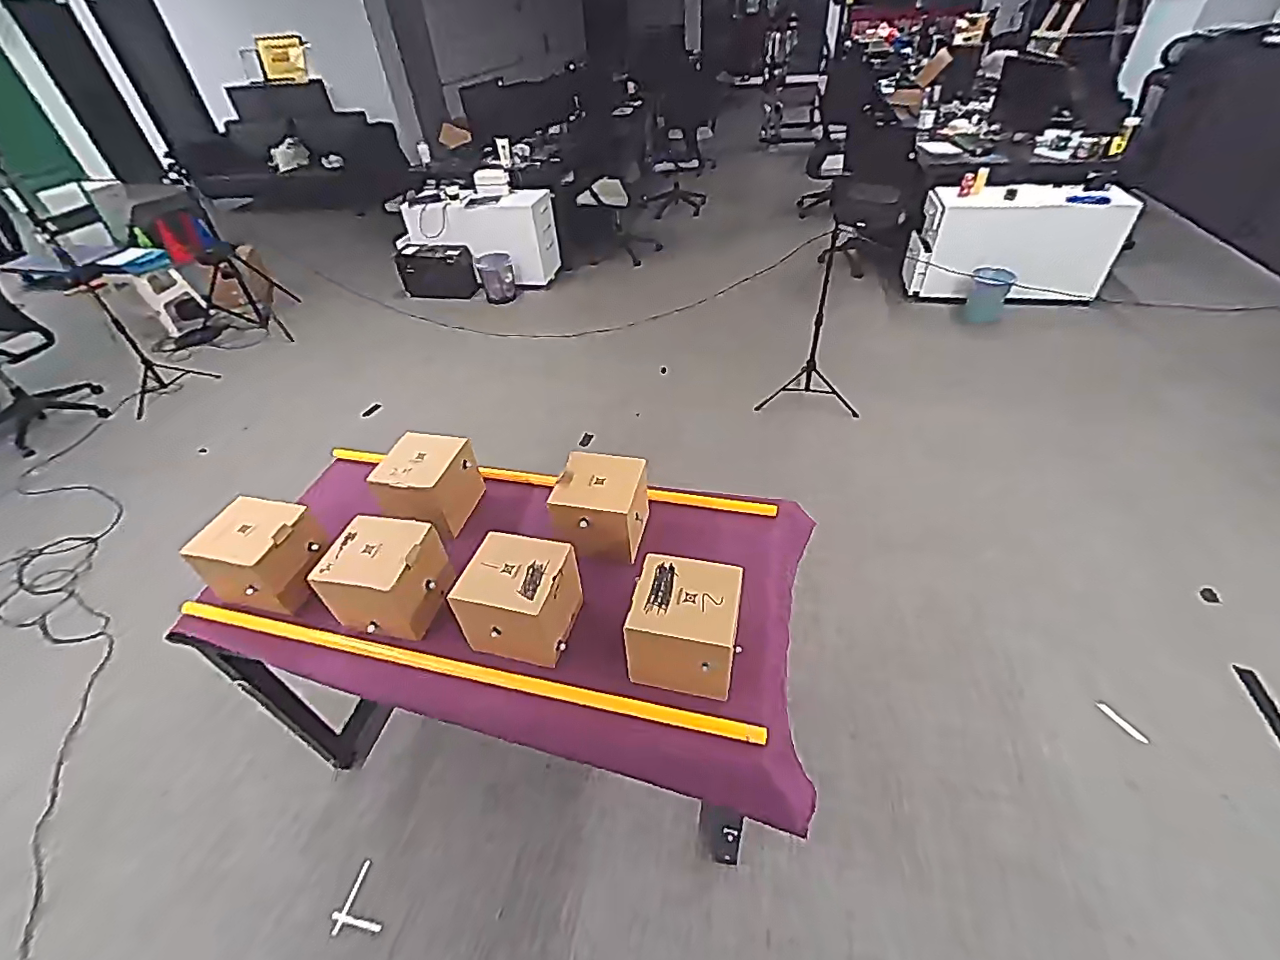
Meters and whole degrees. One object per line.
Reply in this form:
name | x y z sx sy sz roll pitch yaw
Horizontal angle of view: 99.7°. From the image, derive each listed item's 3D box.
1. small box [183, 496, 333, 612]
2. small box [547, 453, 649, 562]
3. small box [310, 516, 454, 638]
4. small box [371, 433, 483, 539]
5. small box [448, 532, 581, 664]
small box | -0.789 0.160 1.149 0.179 0.176 0.168 8 43 10
small box | -0.083 0.063 1.196 0.179 0.176 0.168 6 44 13
small box | -0.502 0.197 1.086 0.179 0.176 0.168 6 43 11
small box | -0.493 0.013 1.287 0.168 0.176 0.179 7 45 13
small box | -0.225 0.225 1.028 0.179 0.176 0.168 7 42 15
